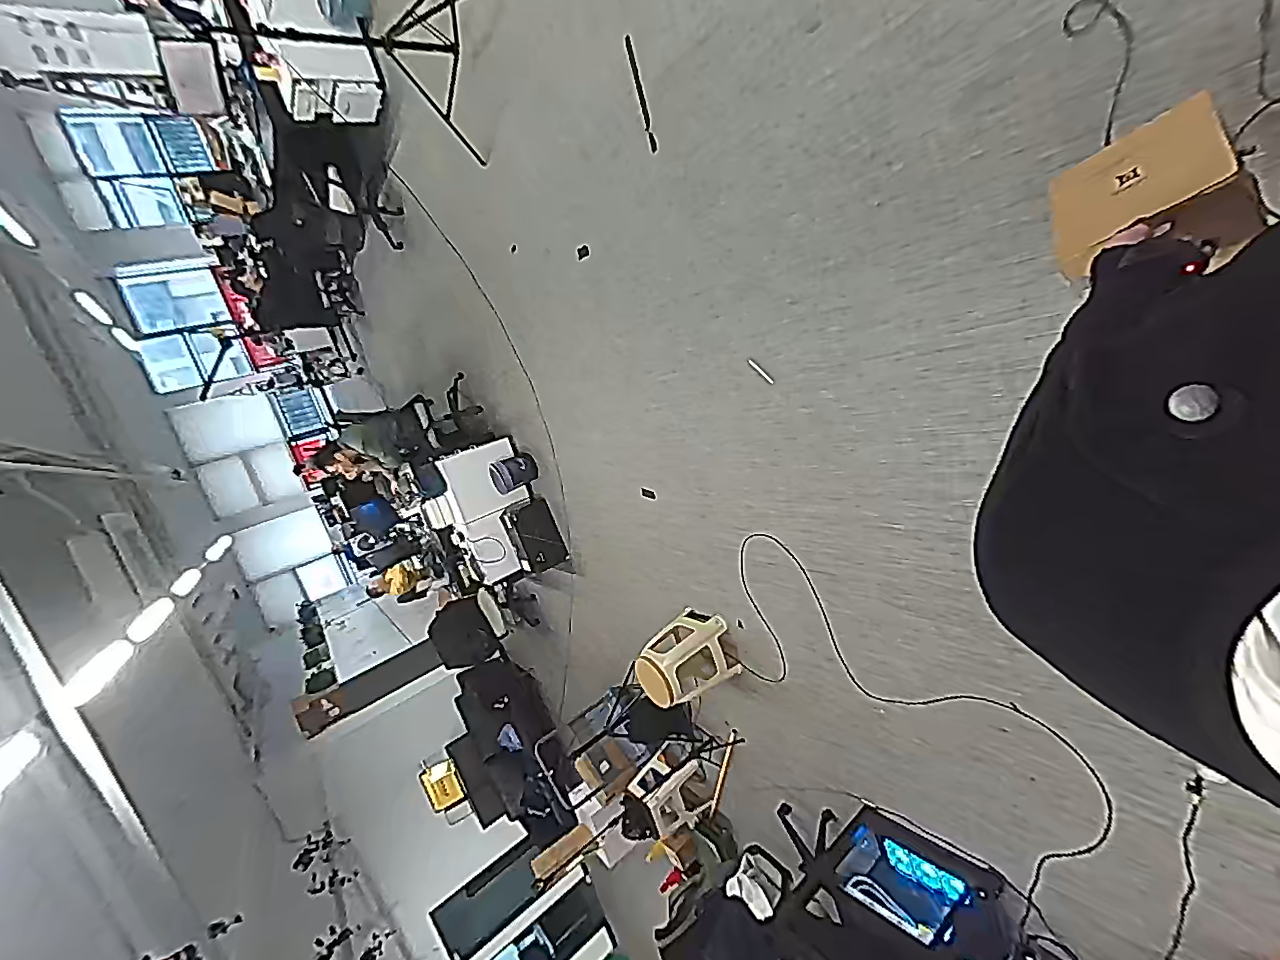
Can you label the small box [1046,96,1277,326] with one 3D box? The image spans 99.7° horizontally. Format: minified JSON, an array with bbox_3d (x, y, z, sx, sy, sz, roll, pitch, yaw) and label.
[{"bbox_3d":[0.660,-0.326,0.696,0.176,0.179,0.168,32,150,-24],"label":"small box"}]
